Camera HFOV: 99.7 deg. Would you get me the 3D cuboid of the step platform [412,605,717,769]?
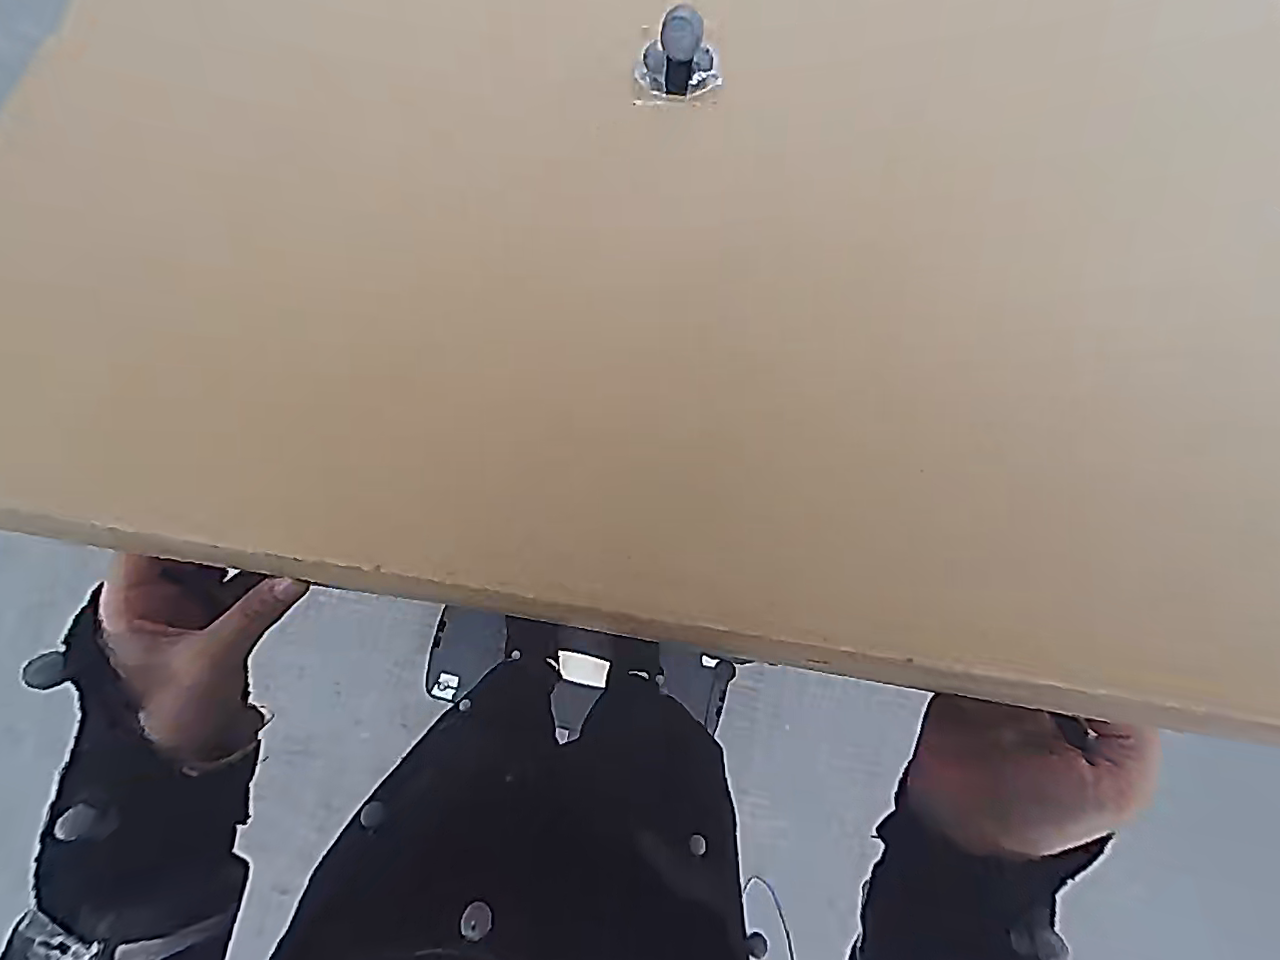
[{"bbox_3d":[-0.167,0.428,1.286,0.684,0.204,0.286,20,83,-3],"label":"step platform"}]
